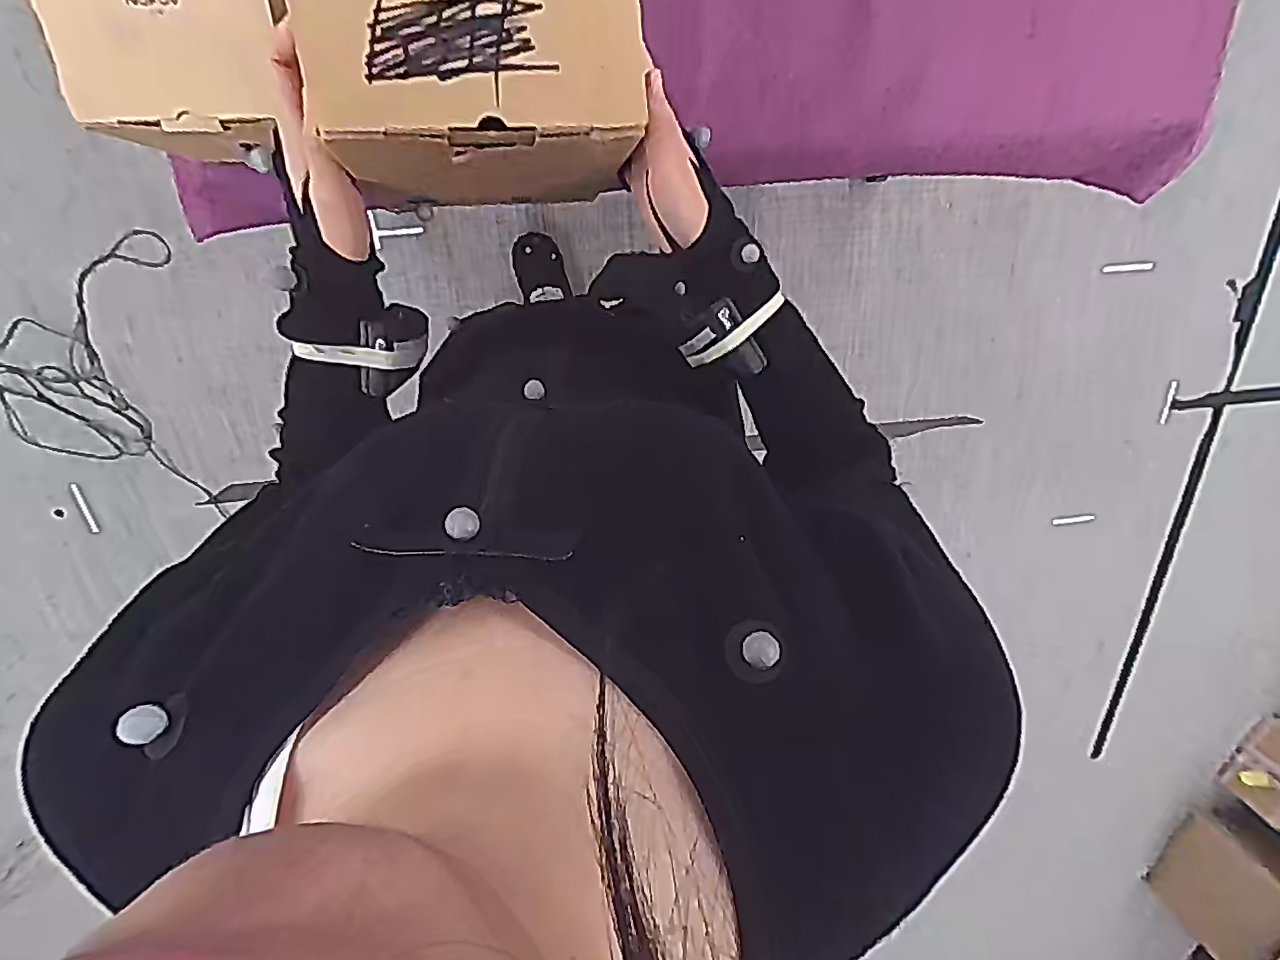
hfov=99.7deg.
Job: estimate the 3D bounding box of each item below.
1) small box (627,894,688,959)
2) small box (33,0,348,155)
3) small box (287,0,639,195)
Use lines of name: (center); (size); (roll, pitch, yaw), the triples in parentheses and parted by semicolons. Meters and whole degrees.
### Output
small box: (0.057, 1.512, 1.786); (0.179, 0.176, 0.168); (-7, 112, -4)
small box: (-0.369, -0.392, 0.471); (0.168, 0.176, 0.179); (-6, 113, -7)
small box: (-0.103, -0.283, 0.327); (0.168, 0.176, 0.179); (-9, 106, -13)
